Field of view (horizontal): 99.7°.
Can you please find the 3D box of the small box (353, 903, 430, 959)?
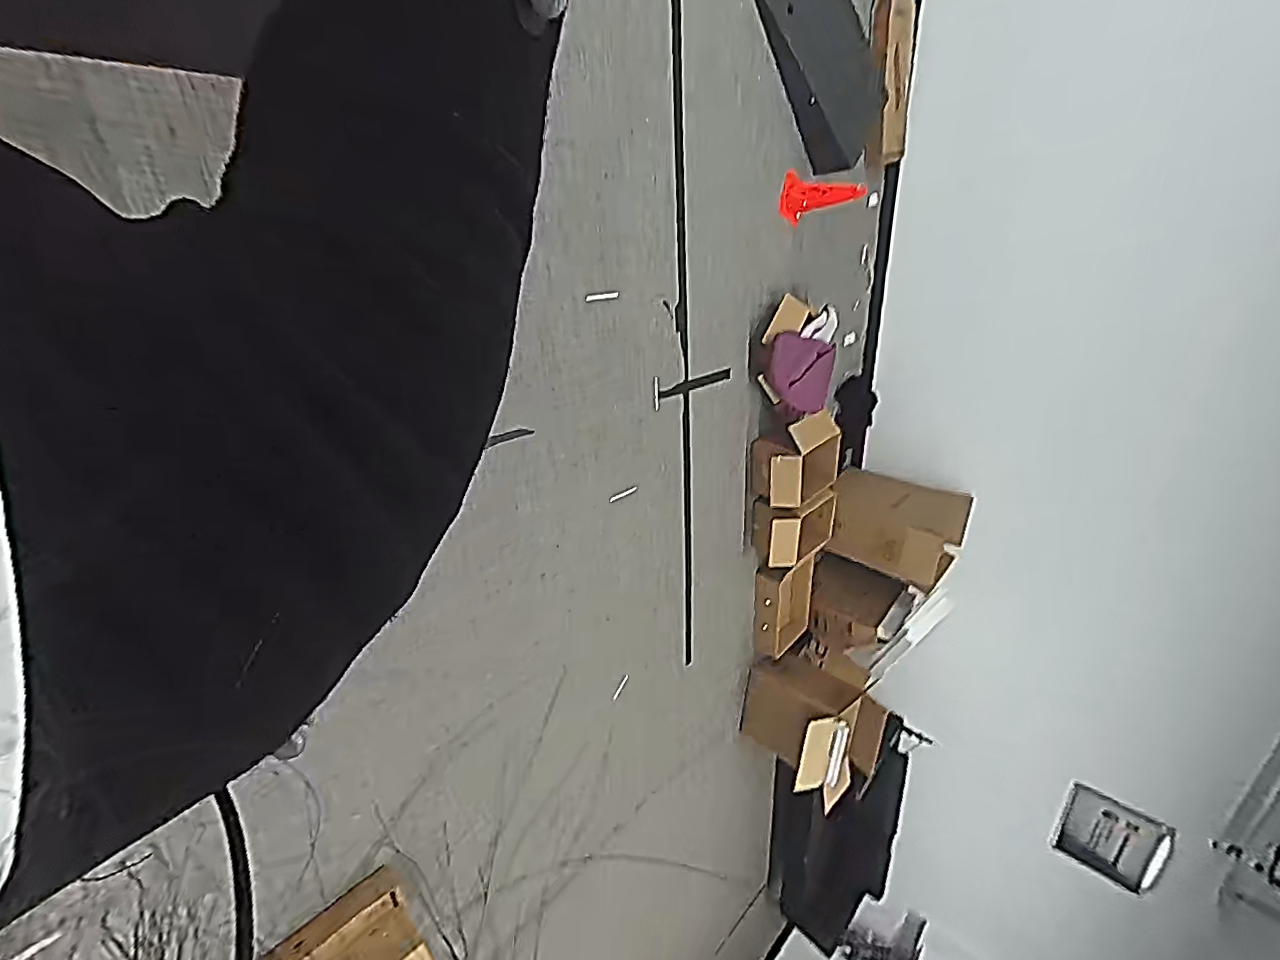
[{"bbox_3d":[-0.811,1.552,1.770,0.168,0.176,0.179,-25,123,-40],"label":"small box"}]
